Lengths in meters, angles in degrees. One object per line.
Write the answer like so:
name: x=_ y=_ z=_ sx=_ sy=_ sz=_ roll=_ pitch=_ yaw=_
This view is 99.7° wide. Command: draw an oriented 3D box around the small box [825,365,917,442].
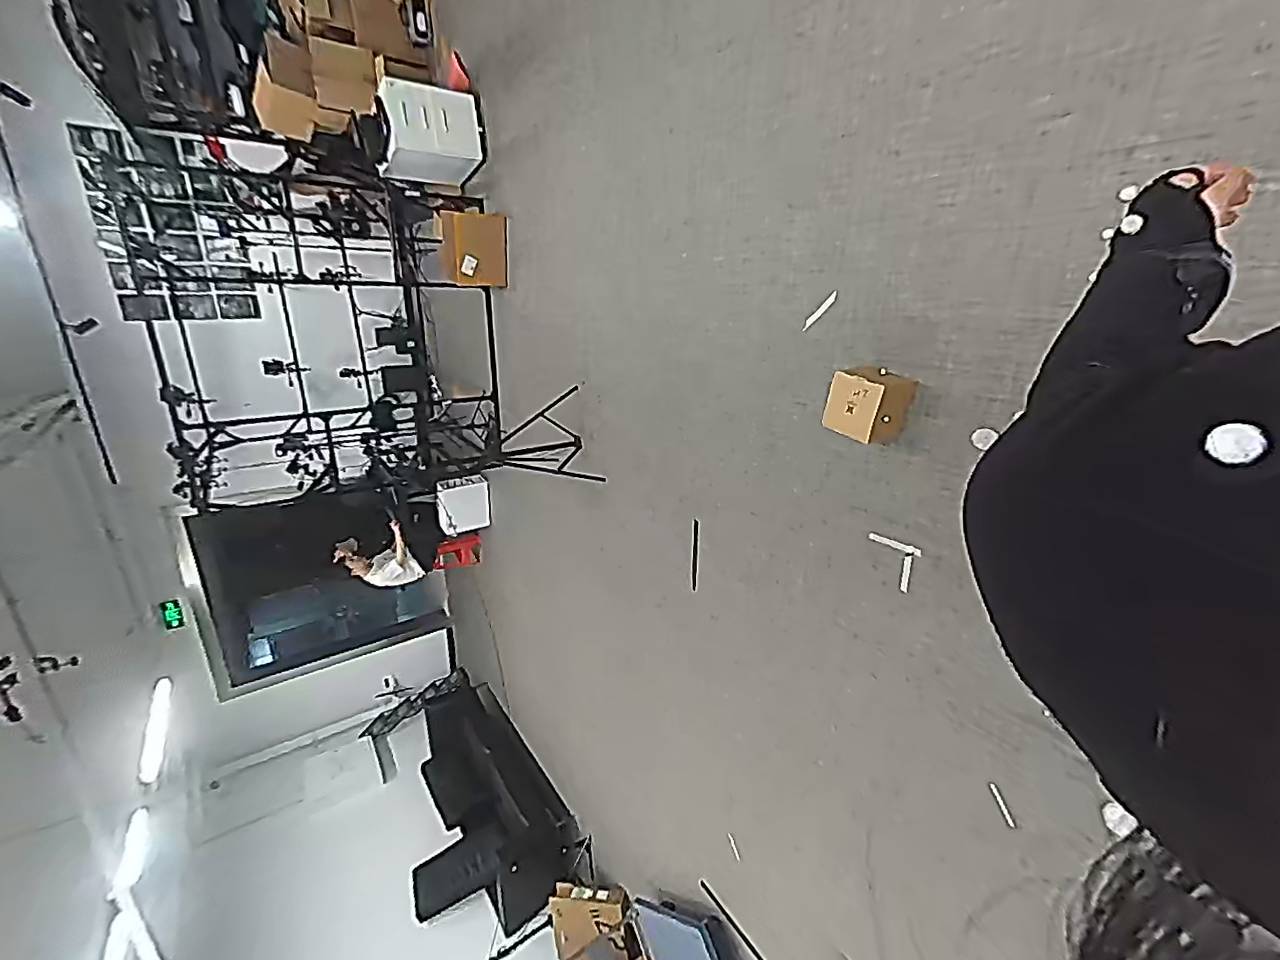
small box: x=0.682 y=-0.231 z=1.594 sx=0.168 sy=0.176 sz=0.179 roll=37 pitch=129 yaw=45
